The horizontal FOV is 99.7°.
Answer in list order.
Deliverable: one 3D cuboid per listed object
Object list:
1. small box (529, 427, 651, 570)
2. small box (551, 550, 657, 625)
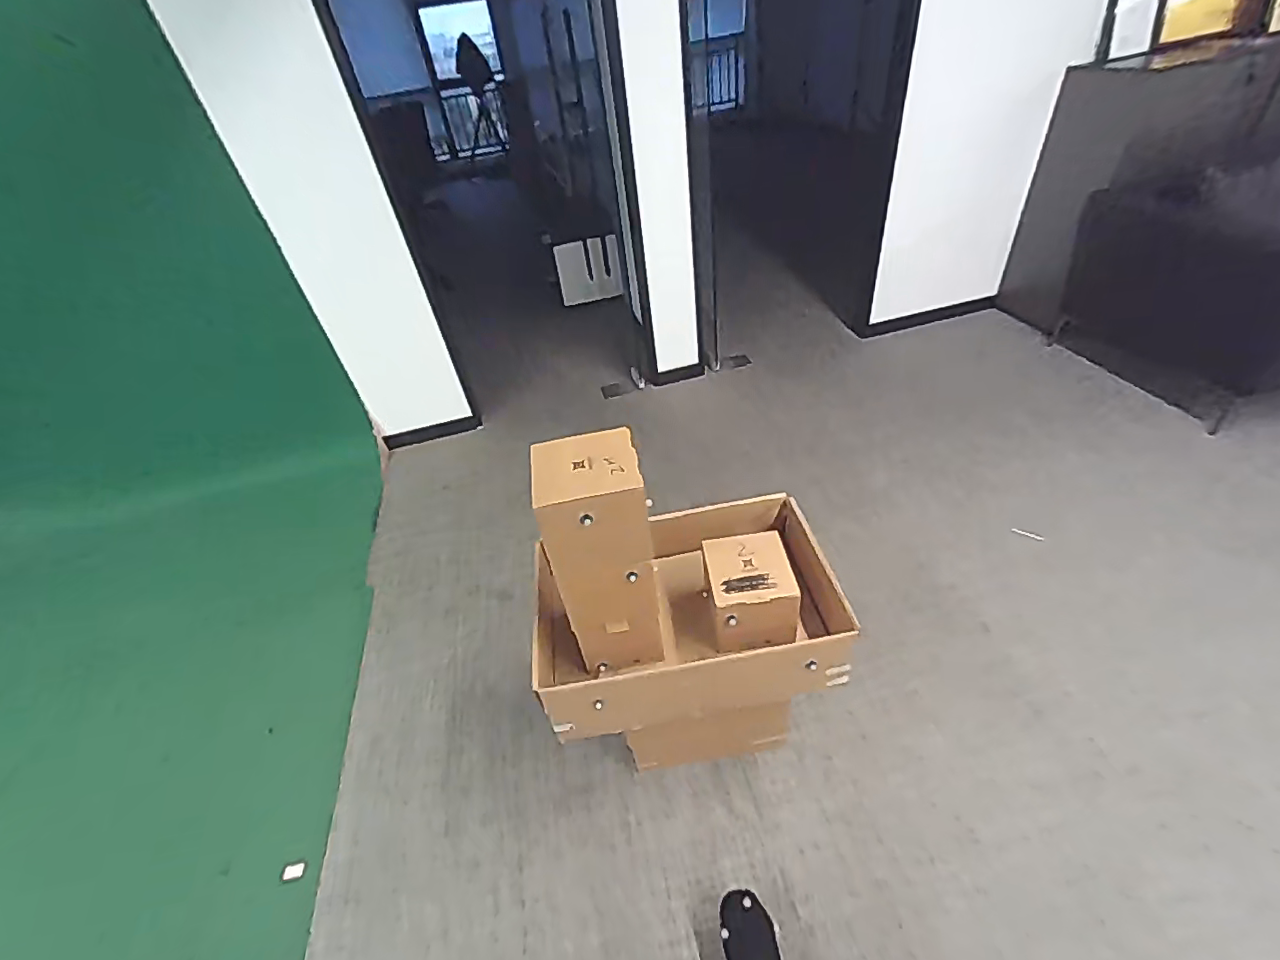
[{"bbox_3d":[-0.085,0.035,0.929,0.179,0.176,0.168,-10,42,-4],"label":"small box"},{"bbox_3d":[-0.070,0.158,1.038,0.179,0.176,0.168,-10,41,-3],"label":"small box"}]
